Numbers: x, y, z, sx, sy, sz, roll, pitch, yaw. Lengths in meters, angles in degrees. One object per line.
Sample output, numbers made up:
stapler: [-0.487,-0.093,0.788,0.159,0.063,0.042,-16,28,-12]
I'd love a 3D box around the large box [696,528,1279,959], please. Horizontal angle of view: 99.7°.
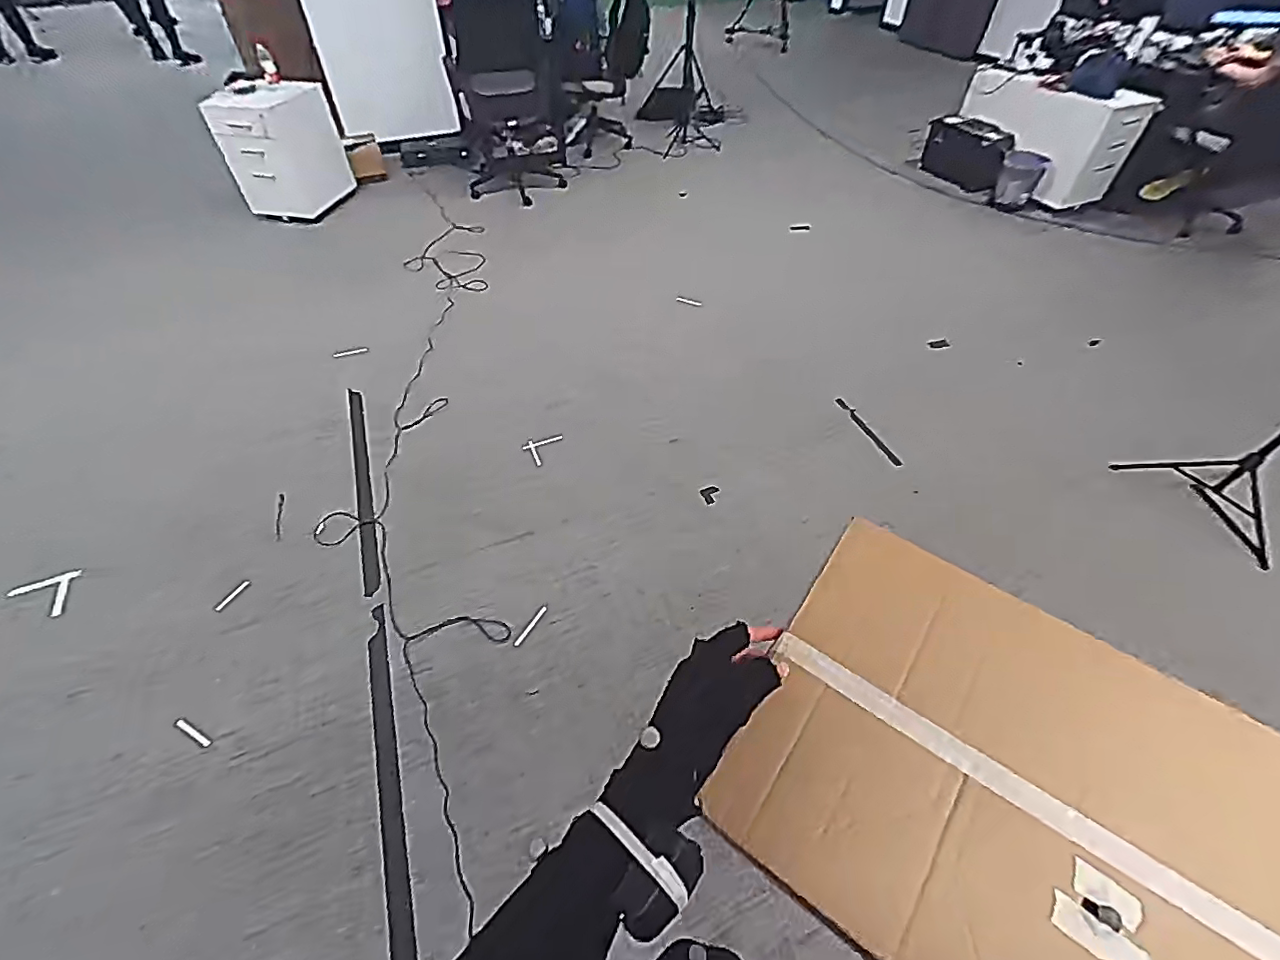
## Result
large box: [0.305,0.322,0.564,0.408,0.320,0.320,30,67,21]
